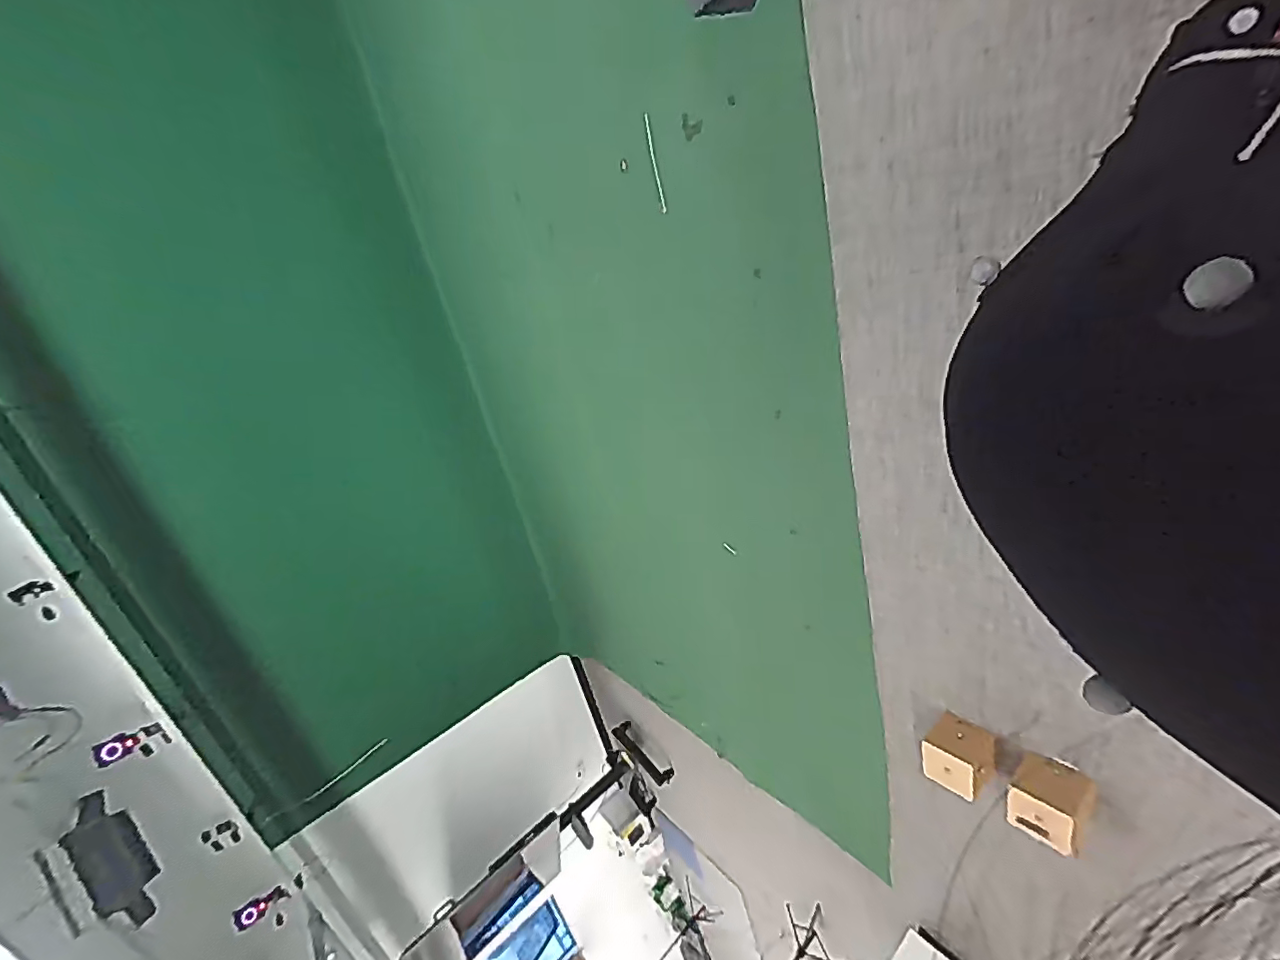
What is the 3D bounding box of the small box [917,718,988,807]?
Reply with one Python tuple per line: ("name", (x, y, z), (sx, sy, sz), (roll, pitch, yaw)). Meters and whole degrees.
("small box", (1.080, 0.967, 1.870), (0.168, 0.176, 0.179), (16, 126, 51))
